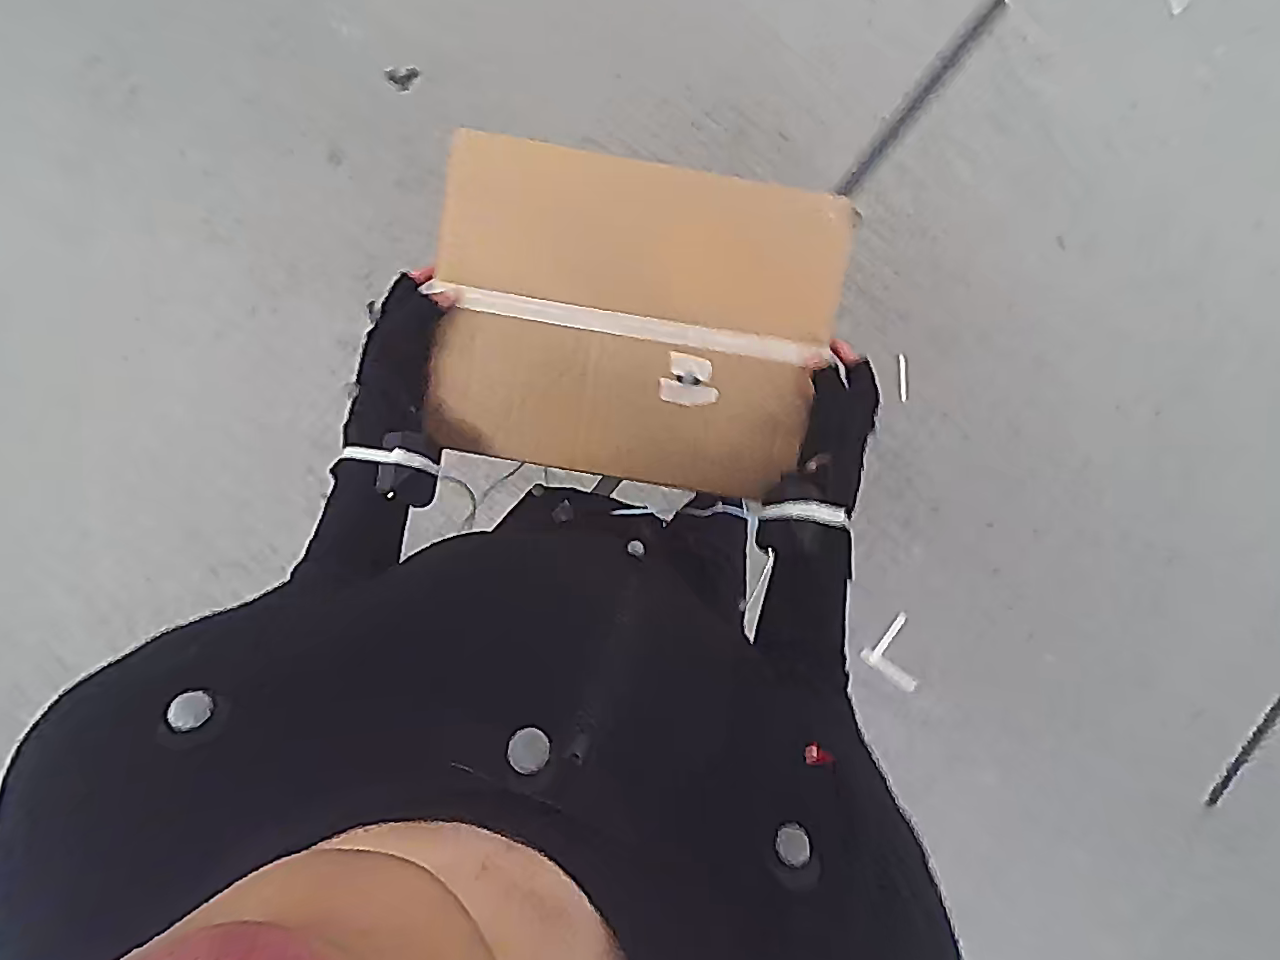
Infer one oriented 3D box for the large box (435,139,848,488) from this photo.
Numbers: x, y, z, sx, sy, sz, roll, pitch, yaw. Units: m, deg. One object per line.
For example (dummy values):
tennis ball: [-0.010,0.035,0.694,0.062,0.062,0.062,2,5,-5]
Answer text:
large box: [-0.006,-0.186,0.713,0.408,0.320,0.320,9,98,-1]
